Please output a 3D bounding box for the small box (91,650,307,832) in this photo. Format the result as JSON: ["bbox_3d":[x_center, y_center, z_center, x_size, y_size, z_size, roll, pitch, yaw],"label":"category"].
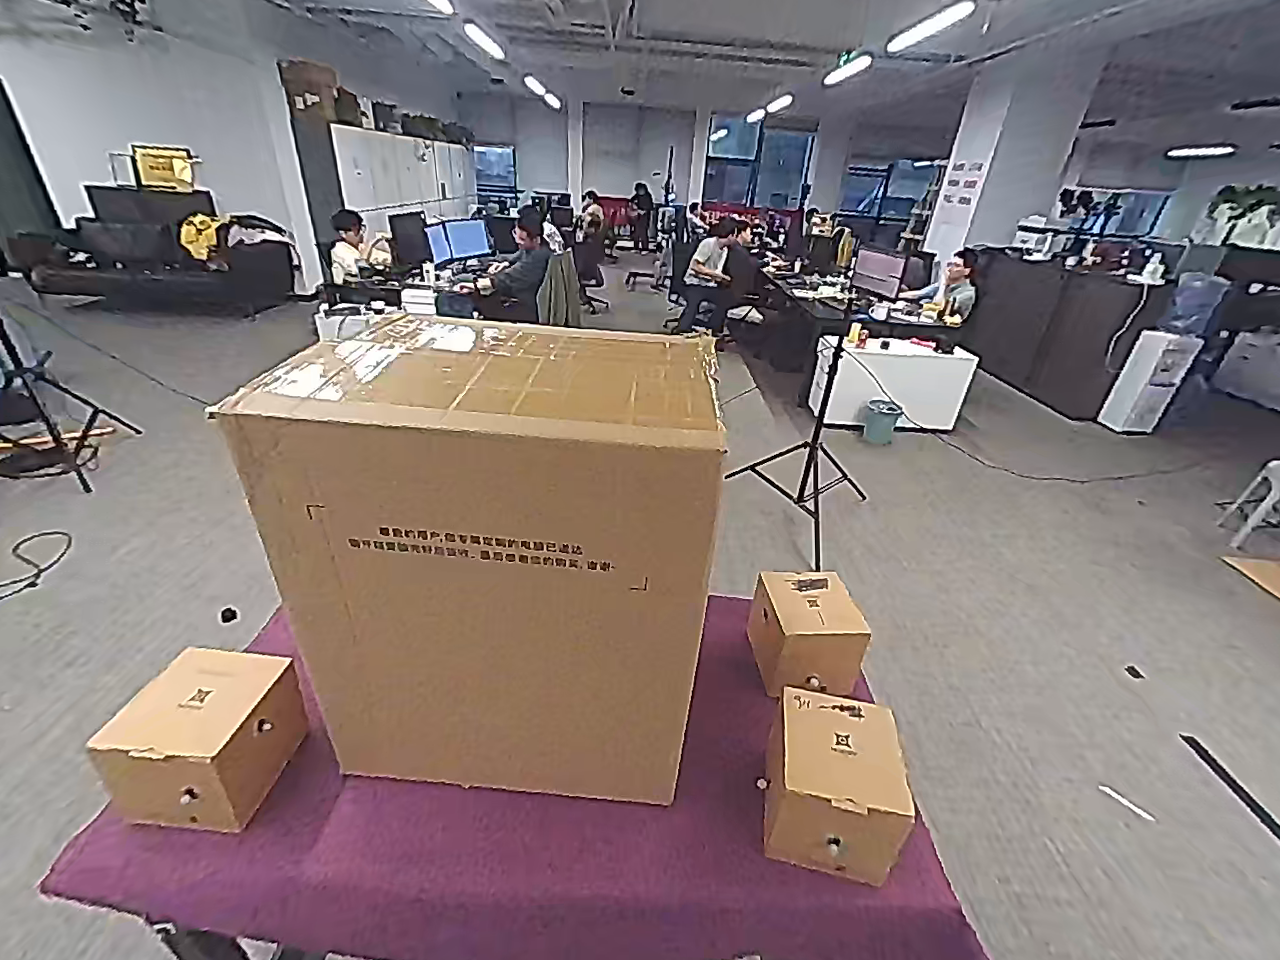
[{"bbox_3d":[-0.628,0.384,0.801,0.168,0.176,0.179,7,26,-1],"label":"small box"}]
